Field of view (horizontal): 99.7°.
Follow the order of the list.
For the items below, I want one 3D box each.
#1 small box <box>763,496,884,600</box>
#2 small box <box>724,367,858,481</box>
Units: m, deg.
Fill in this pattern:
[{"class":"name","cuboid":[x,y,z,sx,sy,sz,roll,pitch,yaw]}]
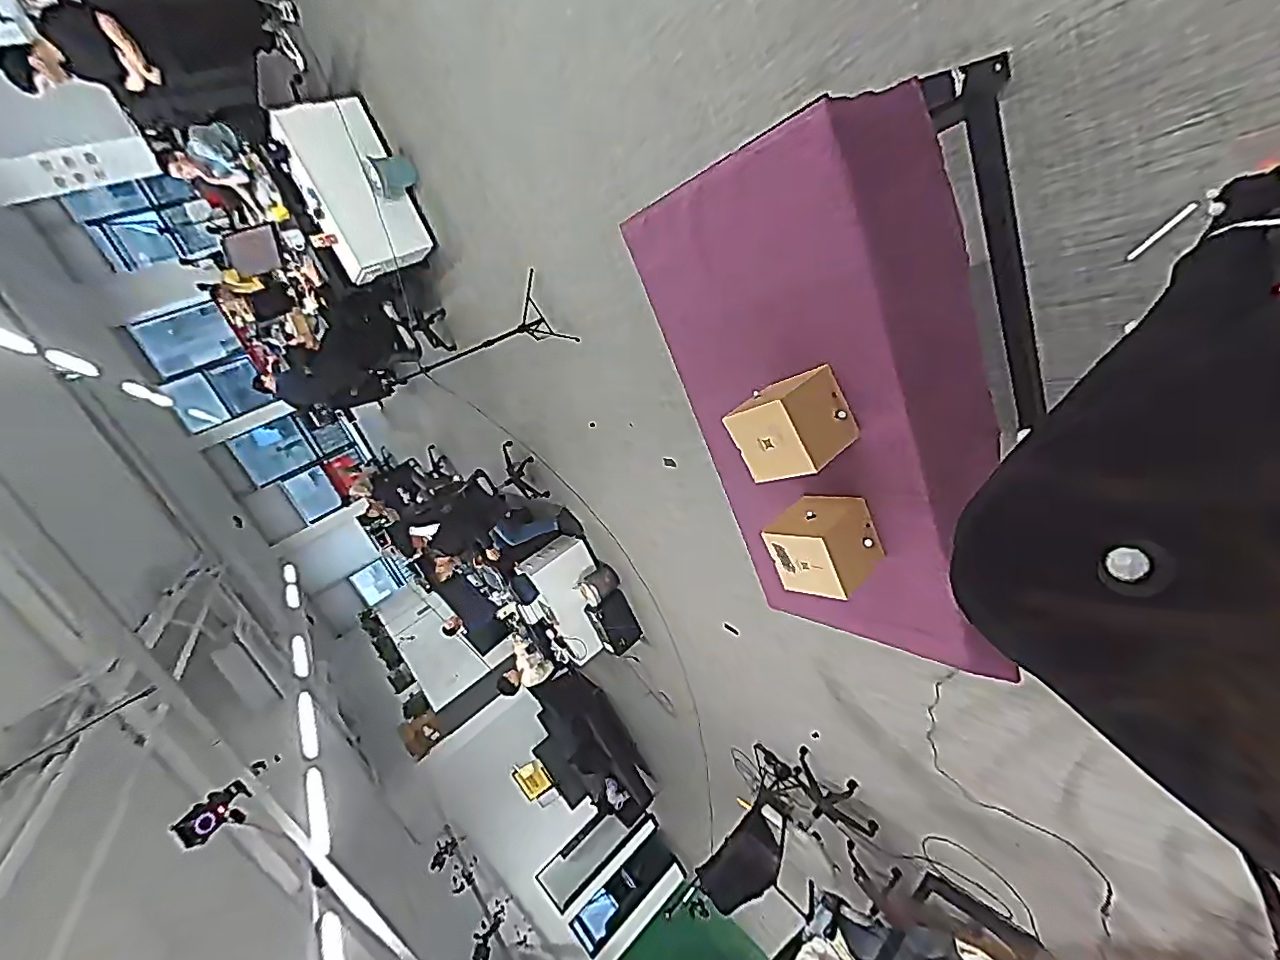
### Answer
[{"class":"small box","cuboid":[0.425,0.148,1.252,0.179,0.176,0.168,-1,120,57]},{"class":"small box","cuboid":[0.317,-0.114,1.138,0.168,0.176,0.179,60,153,-10]}]
